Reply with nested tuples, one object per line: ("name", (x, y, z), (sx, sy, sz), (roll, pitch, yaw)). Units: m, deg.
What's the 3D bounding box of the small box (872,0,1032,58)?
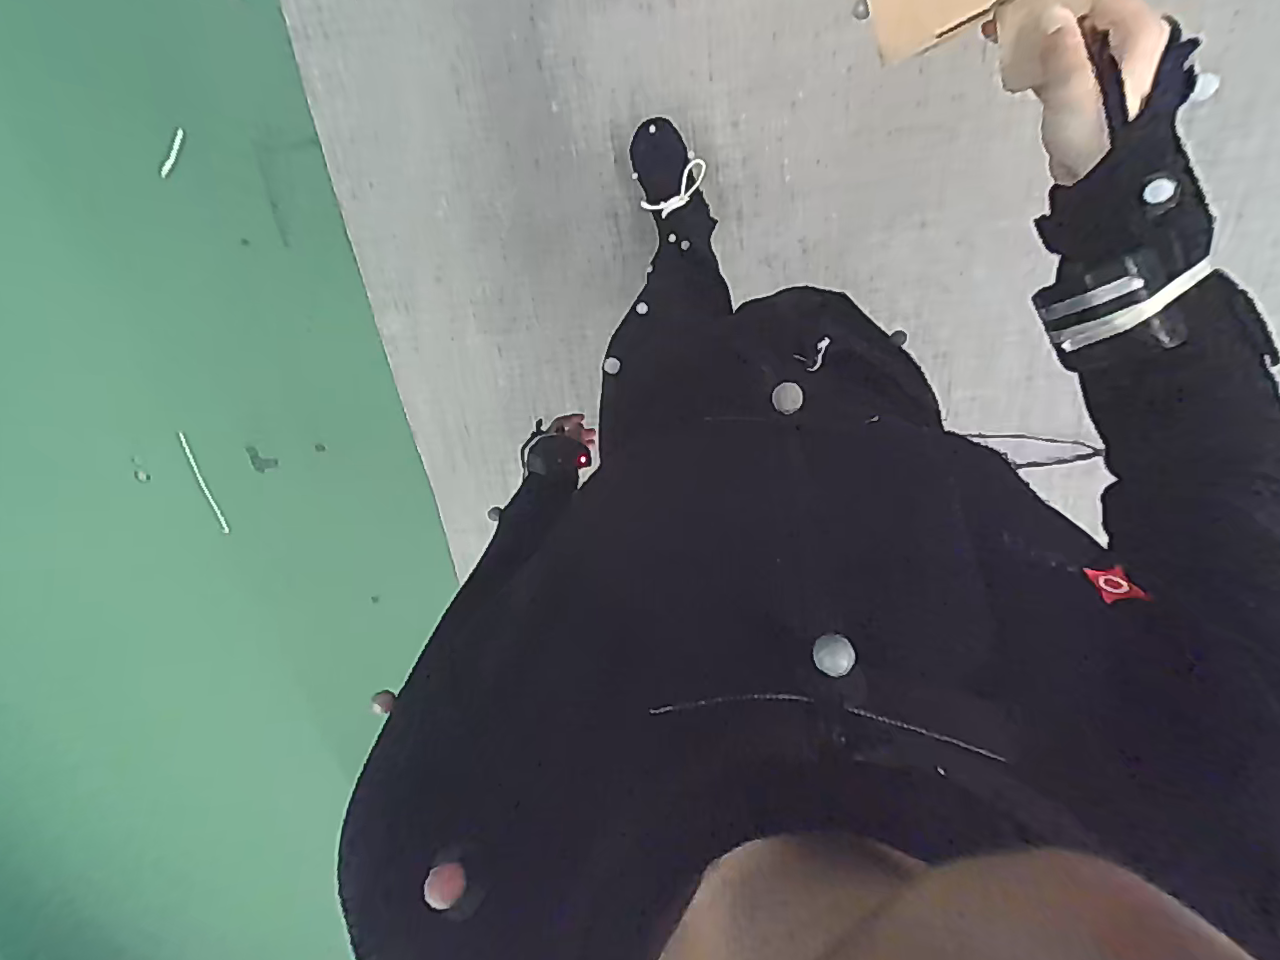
("small box", (0.225, -0.391, 0.318), (0.168, 0.176, 0.179), (-6, 121, 40))
